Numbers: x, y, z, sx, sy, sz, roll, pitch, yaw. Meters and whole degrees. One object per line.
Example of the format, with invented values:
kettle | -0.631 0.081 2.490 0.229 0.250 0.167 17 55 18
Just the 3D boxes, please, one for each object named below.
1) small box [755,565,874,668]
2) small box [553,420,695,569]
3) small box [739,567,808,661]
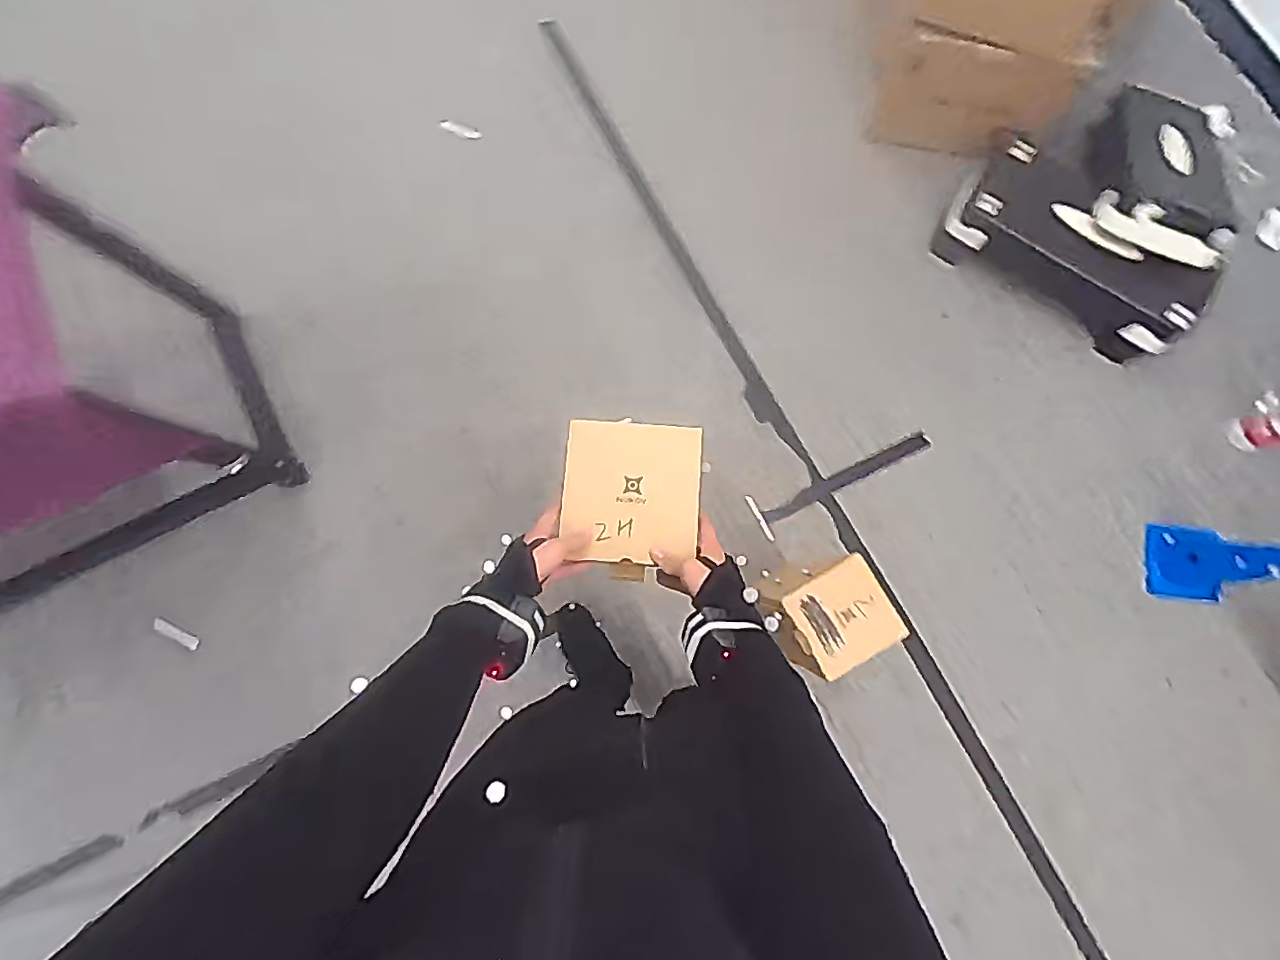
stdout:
small box | 0.381 0.295 1.211 0.179 0.176 0.168 -22 82 -3
small box | -0.019 0.023 0.741 0.168 0.176 0.179 4 86 1
small box | 0.372 0.330 1.370 0.168 0.176 0.179 -27 81 -4
